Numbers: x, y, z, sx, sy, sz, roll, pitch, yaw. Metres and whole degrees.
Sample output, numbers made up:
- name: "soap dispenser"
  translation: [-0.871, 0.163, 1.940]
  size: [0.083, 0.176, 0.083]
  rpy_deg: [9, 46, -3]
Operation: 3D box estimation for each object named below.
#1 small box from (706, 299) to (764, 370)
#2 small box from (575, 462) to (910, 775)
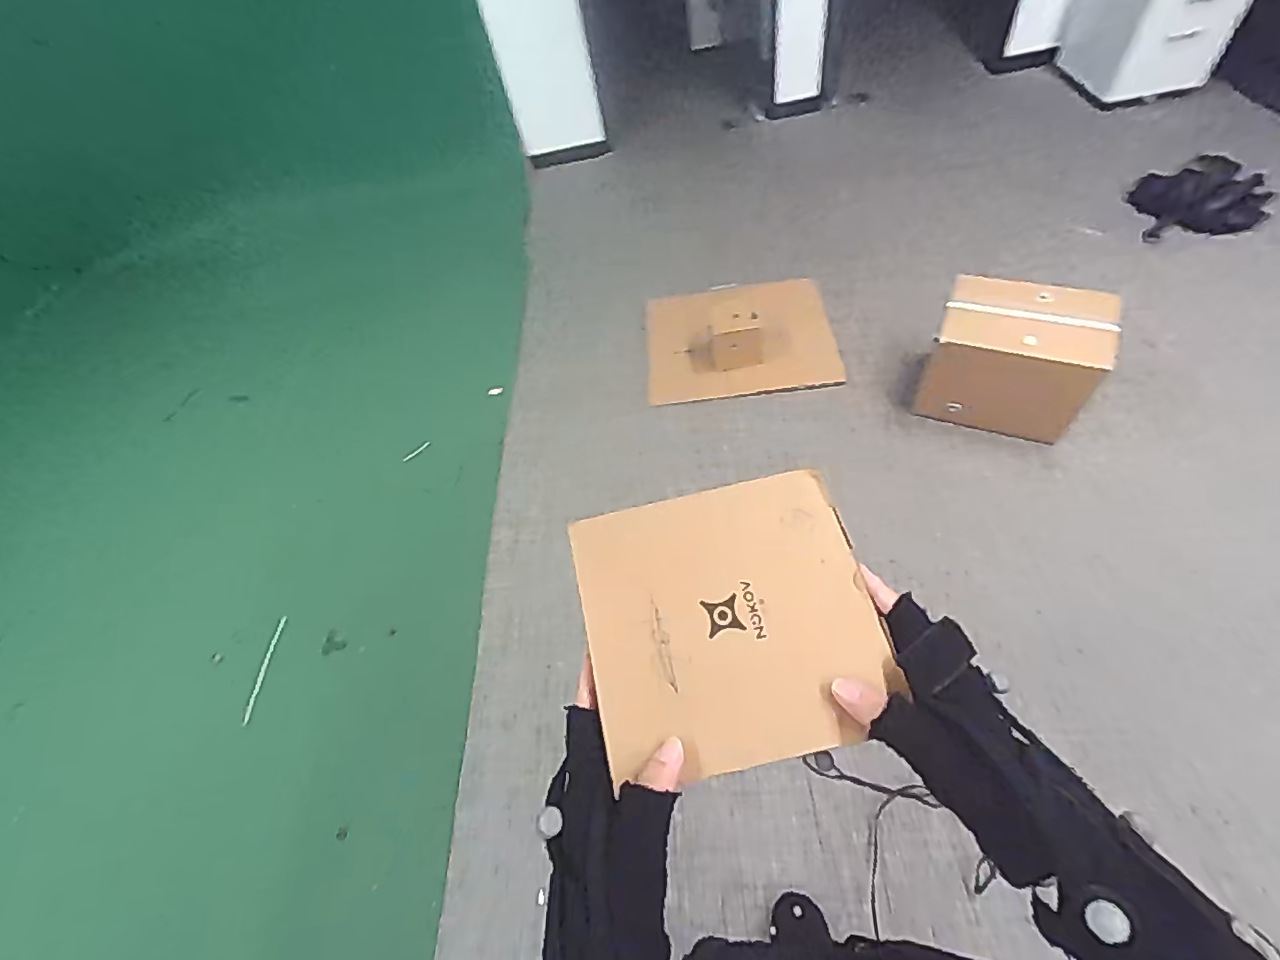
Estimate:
- name: "small box"
  translation: [0.345, -0.520, 1.957]
  size: [0.179, 0.176, 0.168]
  rpy_deg: [-11, 52, 6]
- name: "small box"
  translation: [0.061, 0.110, 0.410]
  size: [0.179, 0.176, 0.168]
  rpy_deg: [-14, 63, 0]
